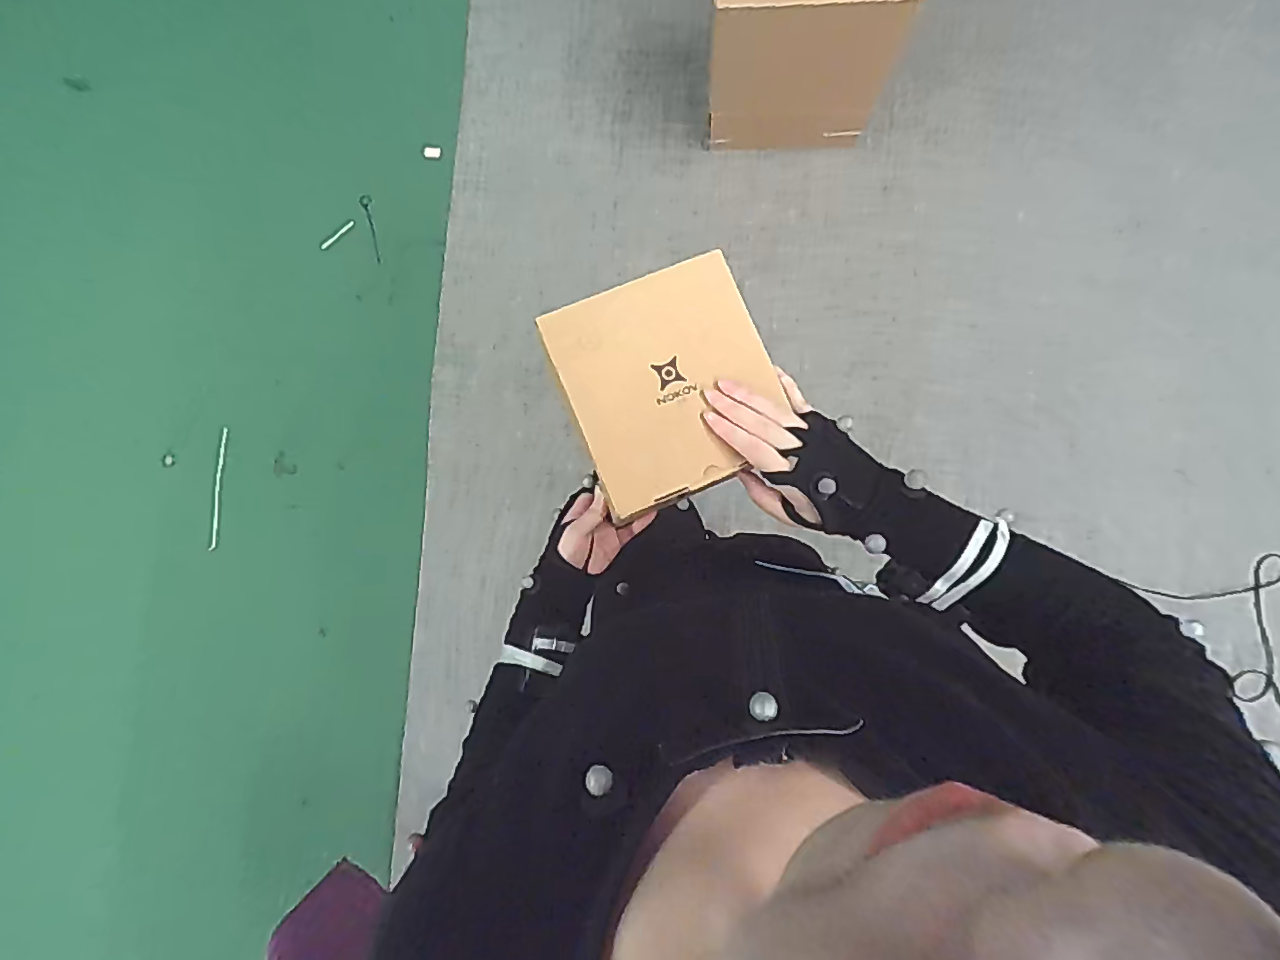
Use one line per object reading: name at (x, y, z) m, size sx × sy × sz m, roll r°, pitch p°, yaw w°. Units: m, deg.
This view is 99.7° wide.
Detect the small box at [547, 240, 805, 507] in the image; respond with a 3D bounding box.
small box at (0.022, -0.085, 0.516) m, size 0.168 × 0.176 × 0.179 m, roll -22°, pitch 86°, yaw -7°
